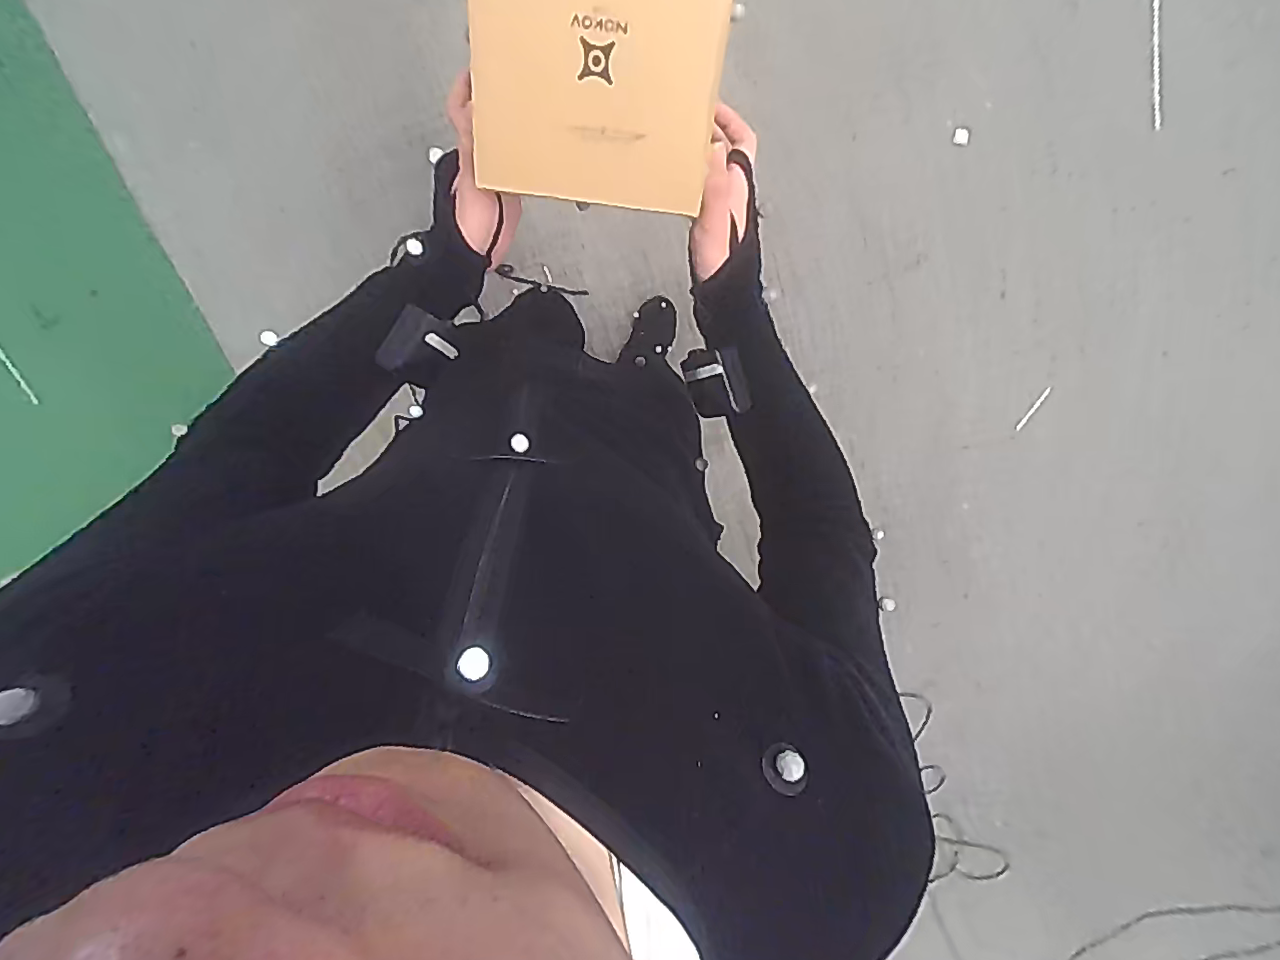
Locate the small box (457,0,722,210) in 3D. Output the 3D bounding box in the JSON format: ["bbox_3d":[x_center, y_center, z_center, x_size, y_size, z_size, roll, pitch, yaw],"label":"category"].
[{"bbox_3d":[-0.032,-0.320,0.413,0.168,0.176,0.179,7,122,-1],"label":"small box"}]
